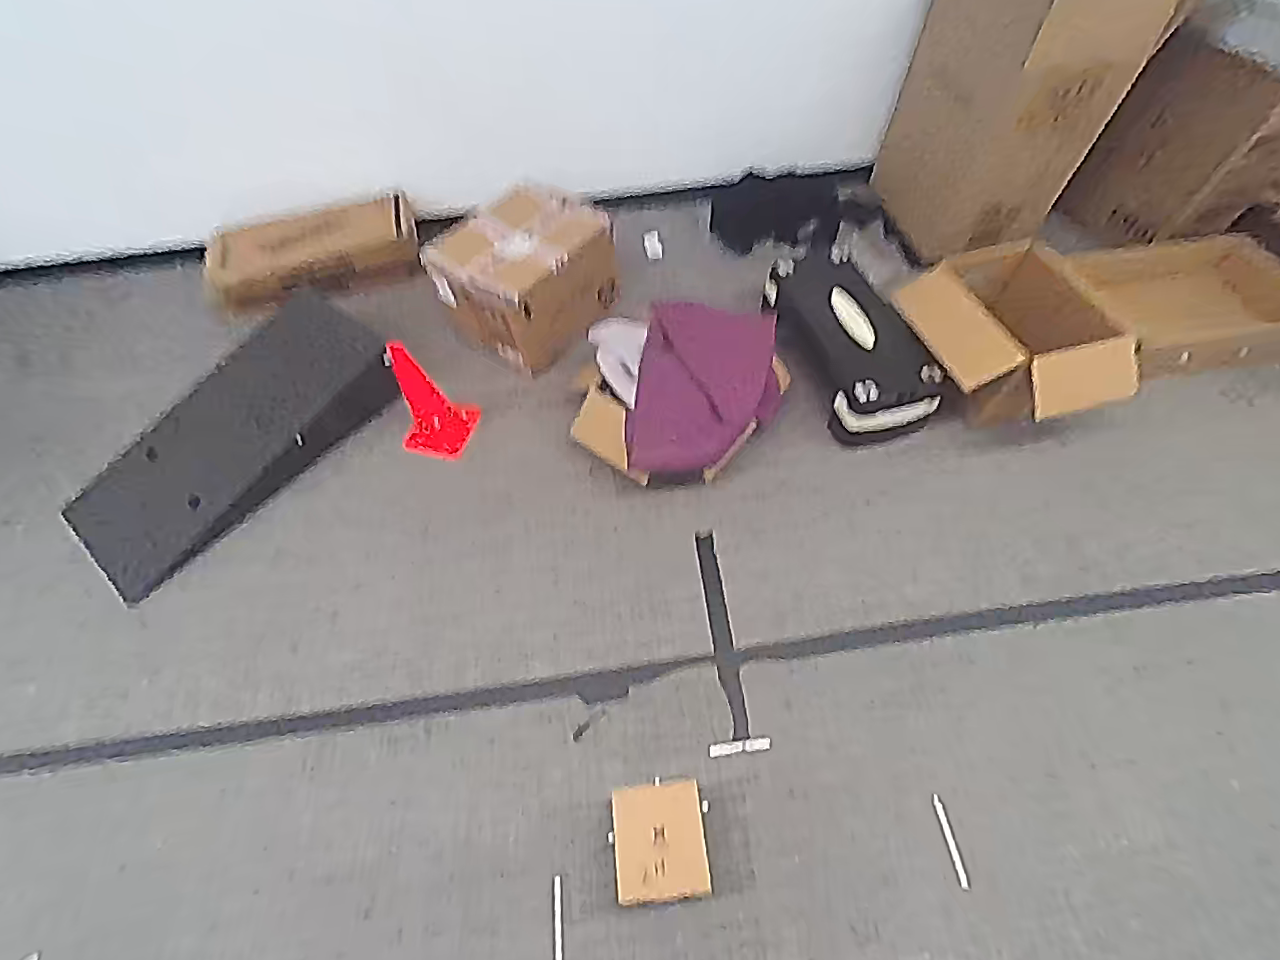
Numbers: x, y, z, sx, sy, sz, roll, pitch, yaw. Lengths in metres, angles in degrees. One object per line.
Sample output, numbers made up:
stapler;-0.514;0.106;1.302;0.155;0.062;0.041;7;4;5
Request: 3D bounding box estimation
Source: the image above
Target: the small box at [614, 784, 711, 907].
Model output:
small box;0.041;0.706;1.053;0.168;0.176;0.179;-7;57;0
